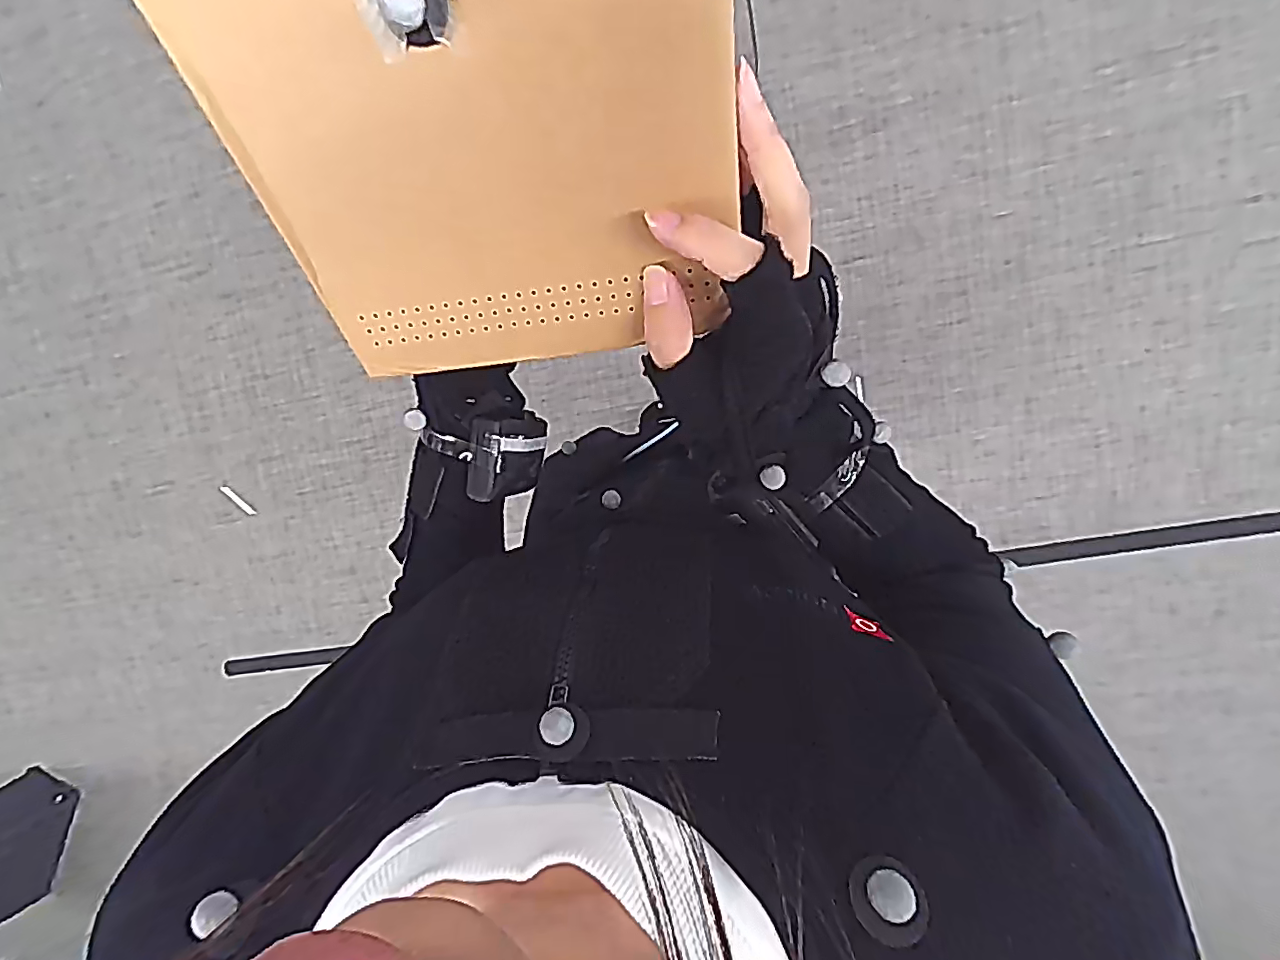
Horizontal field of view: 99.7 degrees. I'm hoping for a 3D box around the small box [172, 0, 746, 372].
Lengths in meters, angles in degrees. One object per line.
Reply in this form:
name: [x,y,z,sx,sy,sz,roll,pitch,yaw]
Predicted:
small box: [-0.049,-0.165,0.246,0.179,0.168,0.176,-5,137,8]
